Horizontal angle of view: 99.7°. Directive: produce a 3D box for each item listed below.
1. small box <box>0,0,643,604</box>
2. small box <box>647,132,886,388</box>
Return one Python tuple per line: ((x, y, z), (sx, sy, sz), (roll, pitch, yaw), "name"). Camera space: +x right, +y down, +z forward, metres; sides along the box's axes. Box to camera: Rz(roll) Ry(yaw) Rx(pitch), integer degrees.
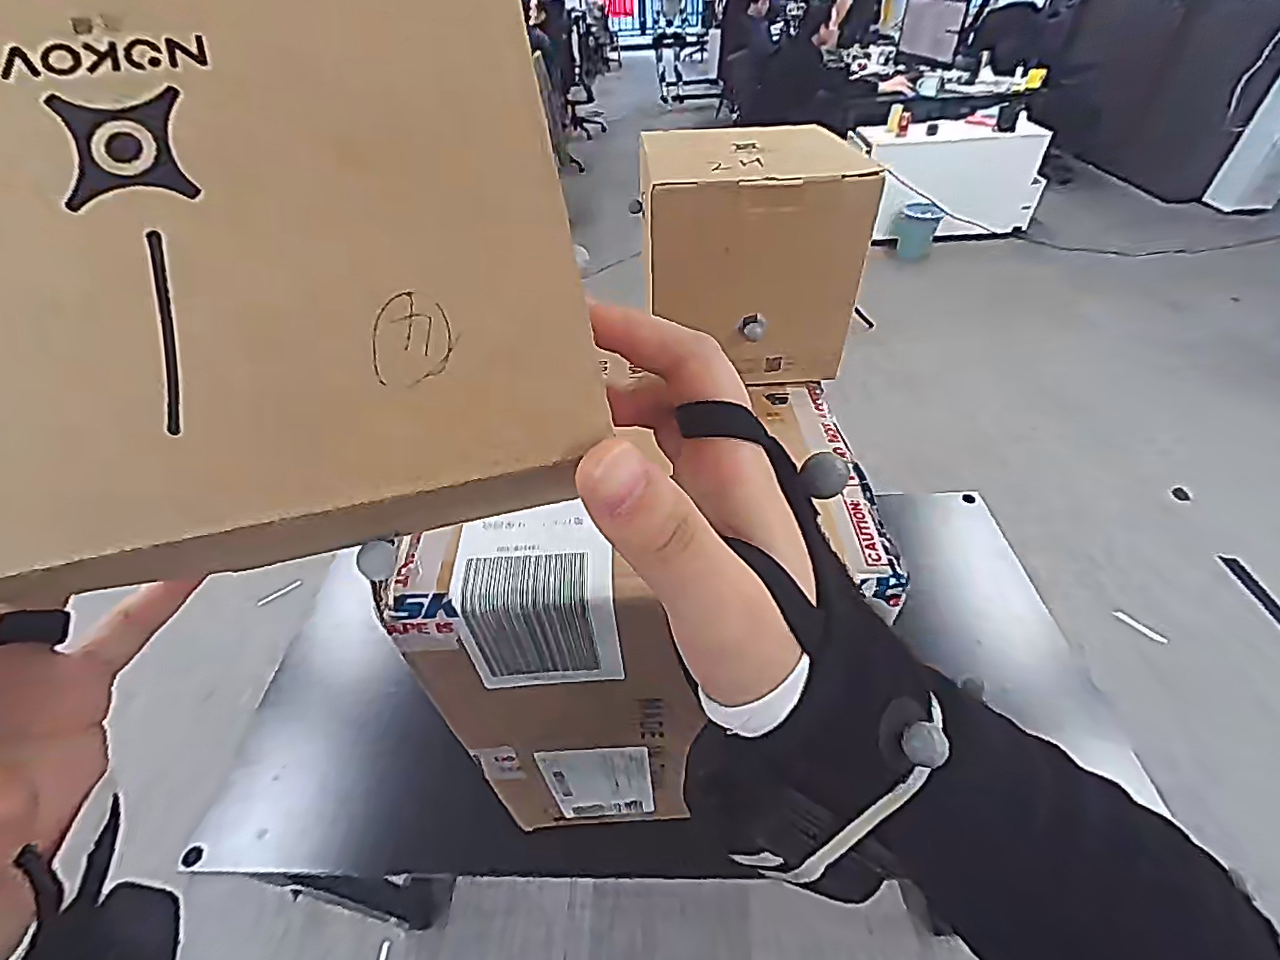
((-0.108, -0.063, 0.192), (0.168, 0.176, 0.179), (-12, 87, -10), "small box")
((0.091, -0.201, 0.491), (0.168, 0.176, 0.179), (-3, 43, 0), "small box")
